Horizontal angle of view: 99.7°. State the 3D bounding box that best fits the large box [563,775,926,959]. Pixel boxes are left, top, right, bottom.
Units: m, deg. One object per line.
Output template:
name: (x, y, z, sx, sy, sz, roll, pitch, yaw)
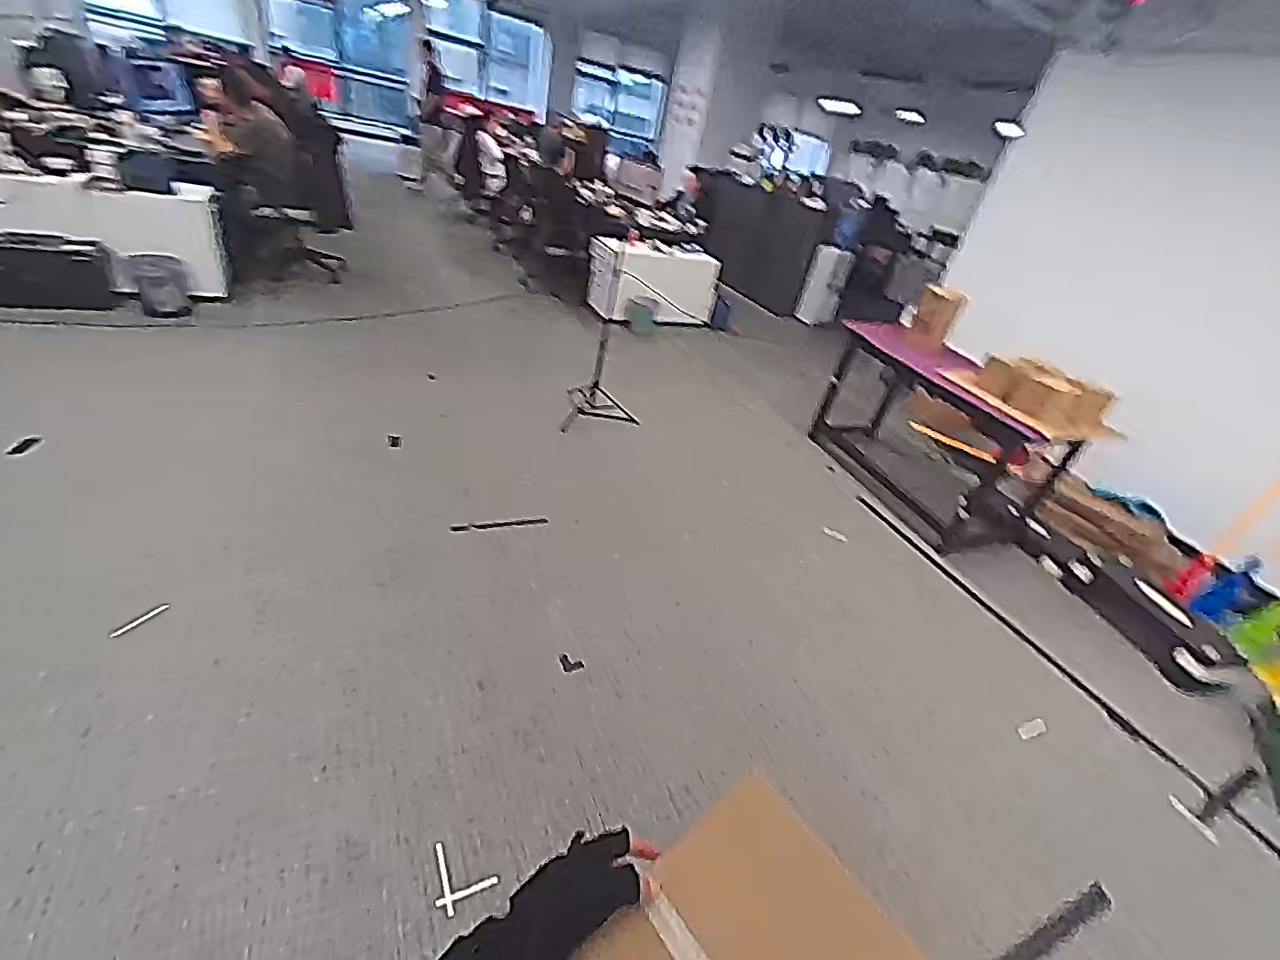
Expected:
large box: (0.123, 0.587, 0.497, 0.320, 0.320, 0.408, -28, 51, -28)
